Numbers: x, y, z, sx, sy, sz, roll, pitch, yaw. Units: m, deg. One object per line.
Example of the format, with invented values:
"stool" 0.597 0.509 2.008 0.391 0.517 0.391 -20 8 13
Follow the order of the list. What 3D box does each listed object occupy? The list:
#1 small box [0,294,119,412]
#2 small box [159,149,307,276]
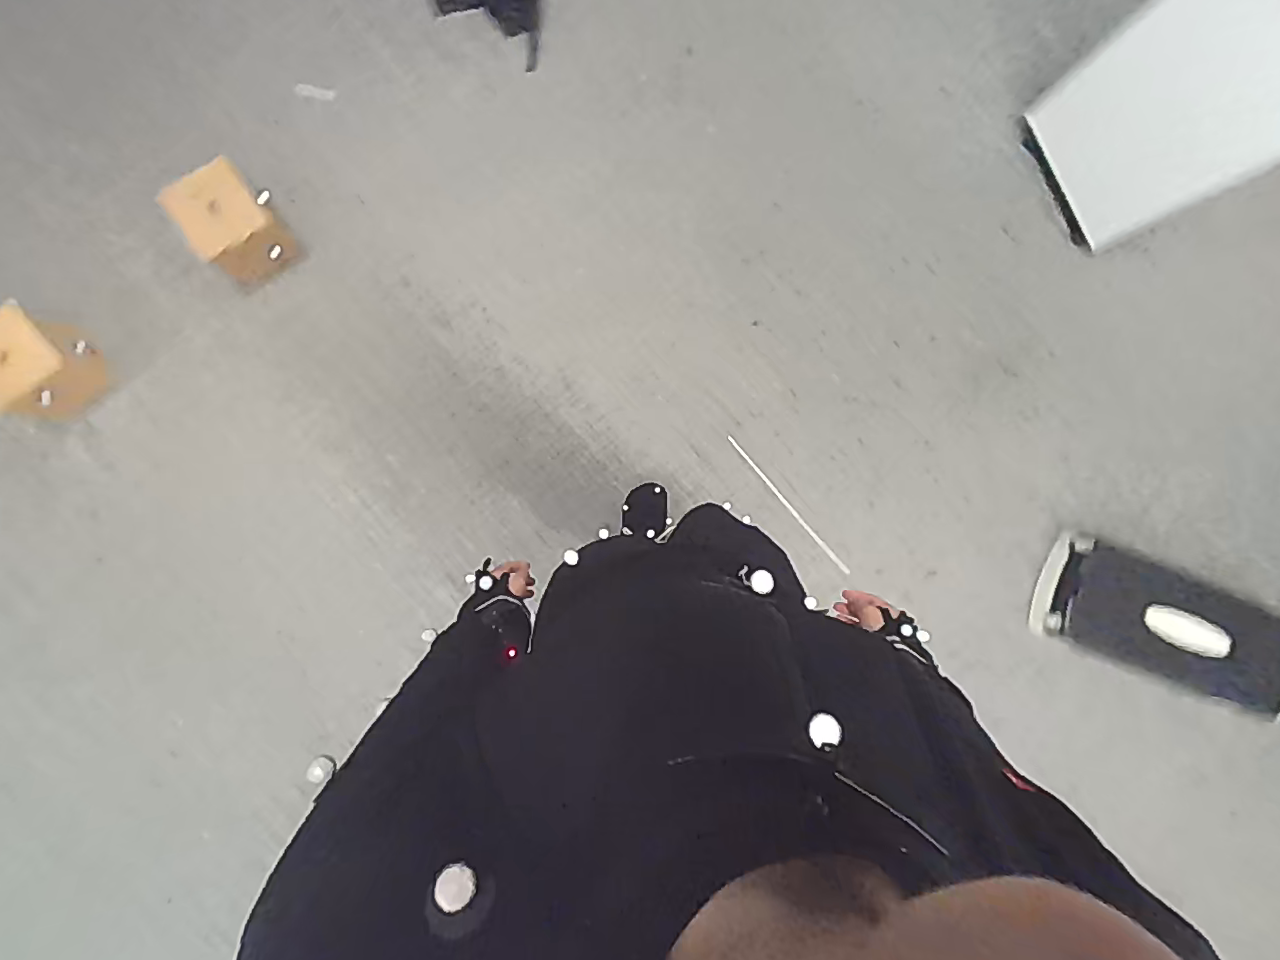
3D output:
"small box" -1.321 -0.271 1.191 0.179 0.176 0.168 -38 92 -3
"small box" -0.907 -0.590 1.228 0.168 0.176 0.179 -34 91 -5
